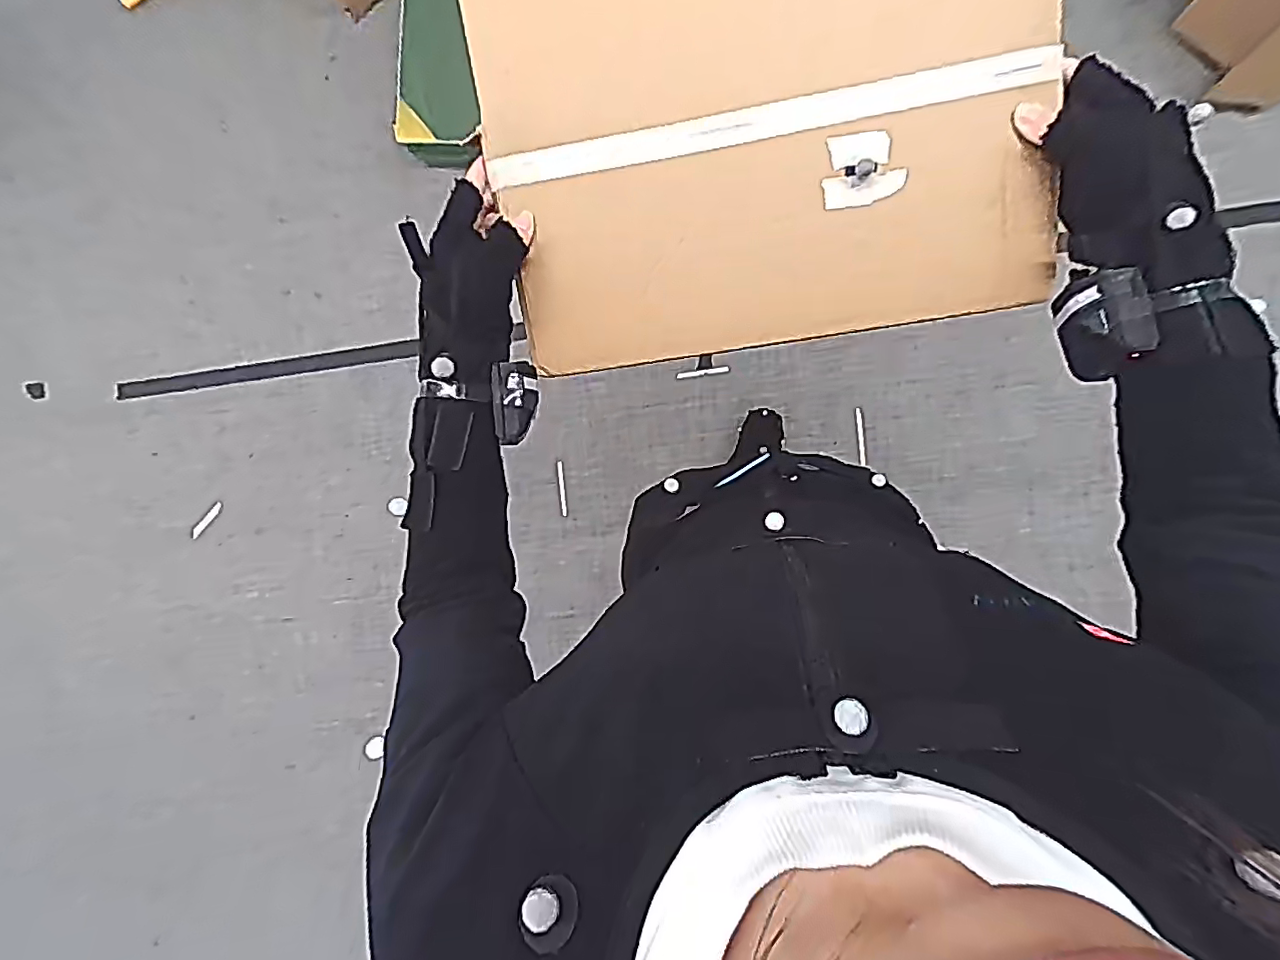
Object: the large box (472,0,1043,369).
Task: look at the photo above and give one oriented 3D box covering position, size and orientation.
[{"bbox_3d":[0.098,-0.306,0.551,0.408,0.320,0.320,-8,105,6],"label":"large box"}]
